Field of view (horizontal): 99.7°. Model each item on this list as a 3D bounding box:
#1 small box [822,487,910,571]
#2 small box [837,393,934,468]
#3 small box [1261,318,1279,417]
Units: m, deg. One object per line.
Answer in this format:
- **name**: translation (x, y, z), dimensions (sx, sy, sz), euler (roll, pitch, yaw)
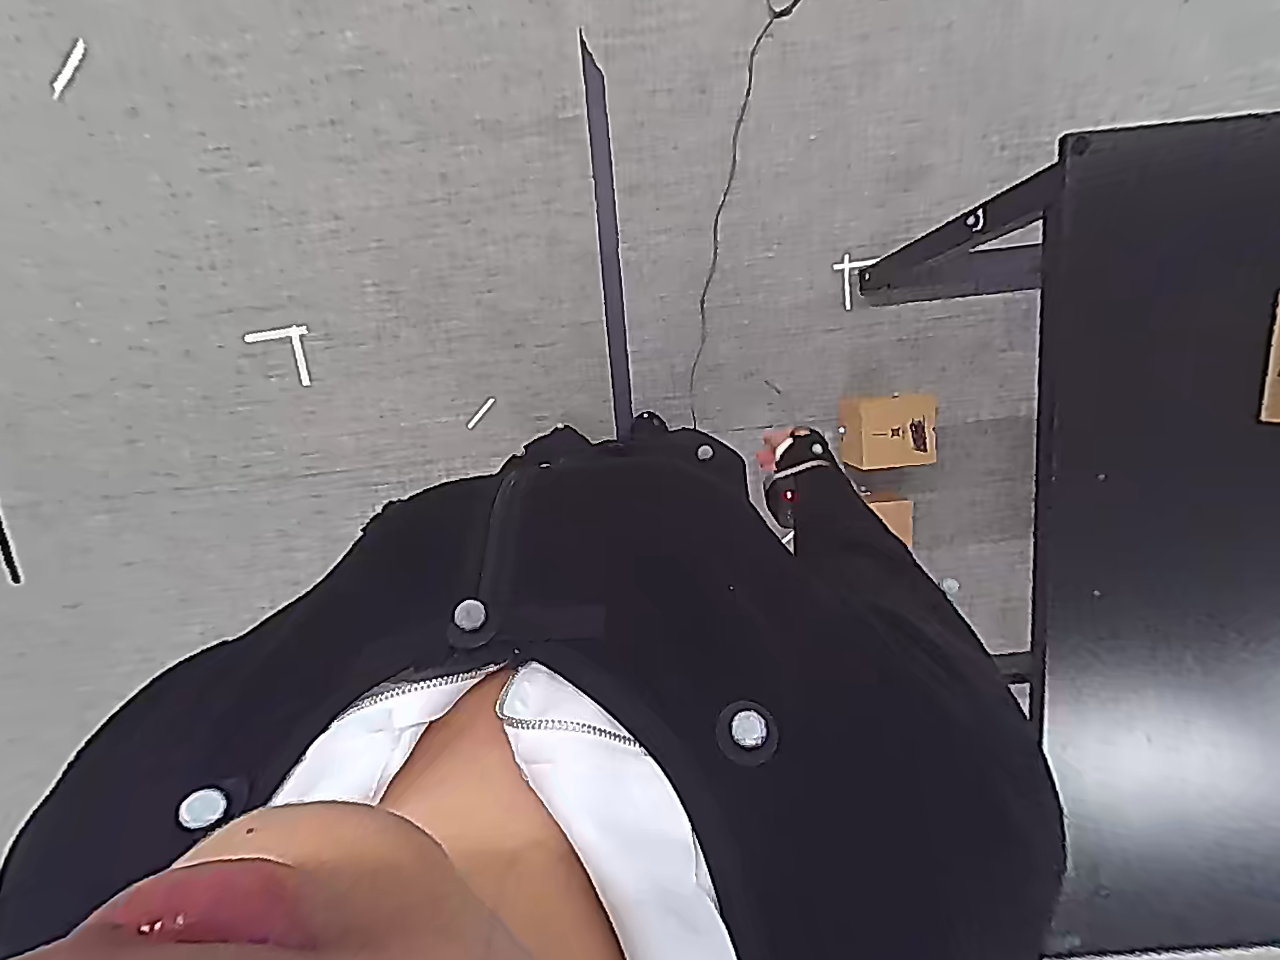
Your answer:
- **small box**: translation (0.584, 0.123, 1.411), dimensions (0.168, 0.176, 0.179), euler (-6, 99, 2)
- **small box**: translation (0.614, -0.129, 1.366), dimensions (0.179, 0.176, 0.168), euler (-6, 99, 3)
- **small box**: translation (0.888, -0.153, 0.615), dimensions (0.179, 0.176, 0.168), euler (-2, 100, 2)
